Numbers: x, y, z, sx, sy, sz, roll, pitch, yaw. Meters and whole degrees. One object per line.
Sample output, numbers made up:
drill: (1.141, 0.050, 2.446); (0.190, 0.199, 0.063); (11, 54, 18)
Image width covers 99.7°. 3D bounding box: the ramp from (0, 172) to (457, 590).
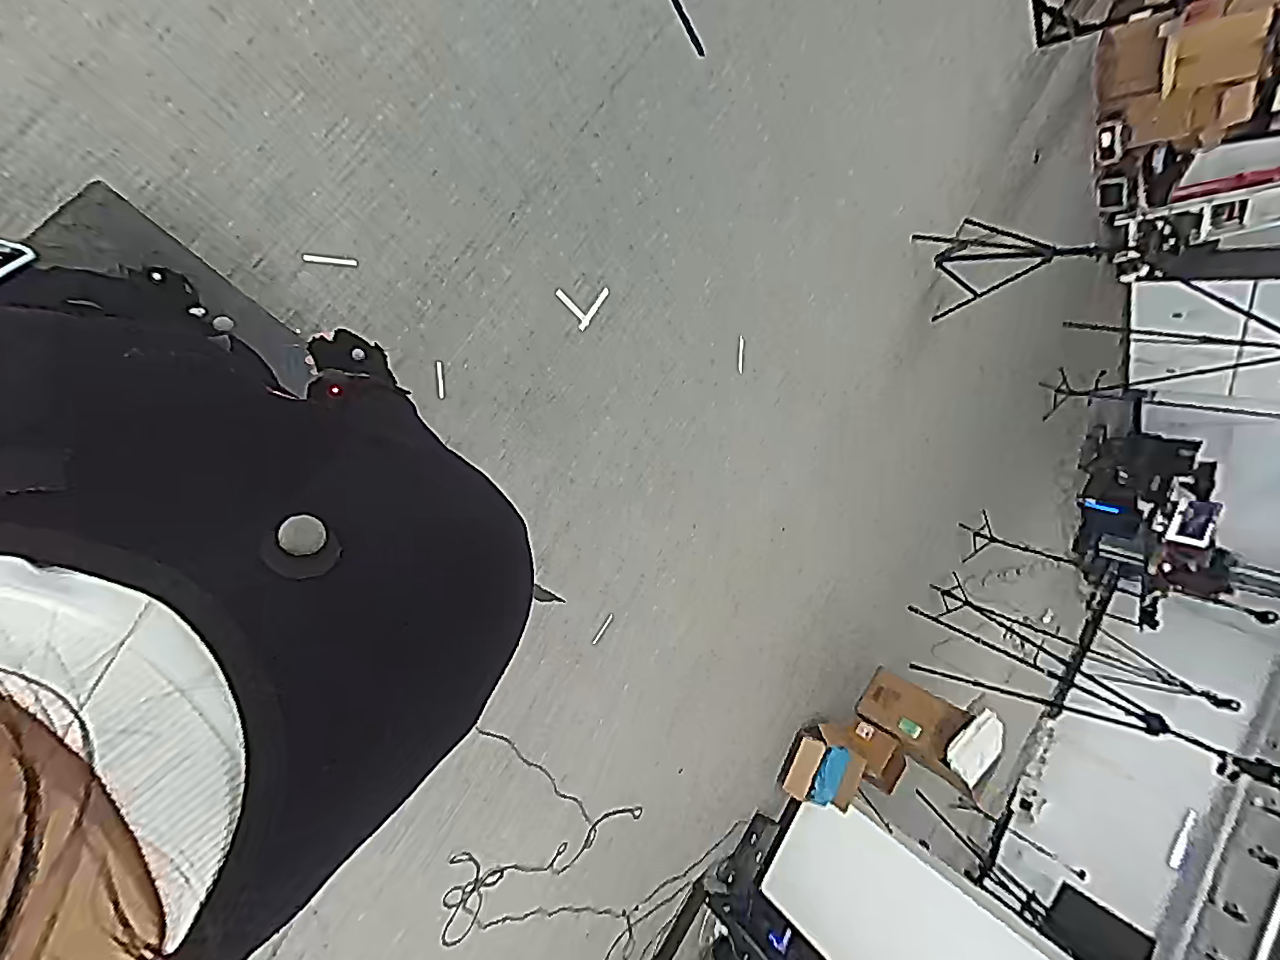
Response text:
ramp: (-0.910, -0.110, 1.274); (0.991, 0.206, 0.509); (44, 74, -41)
